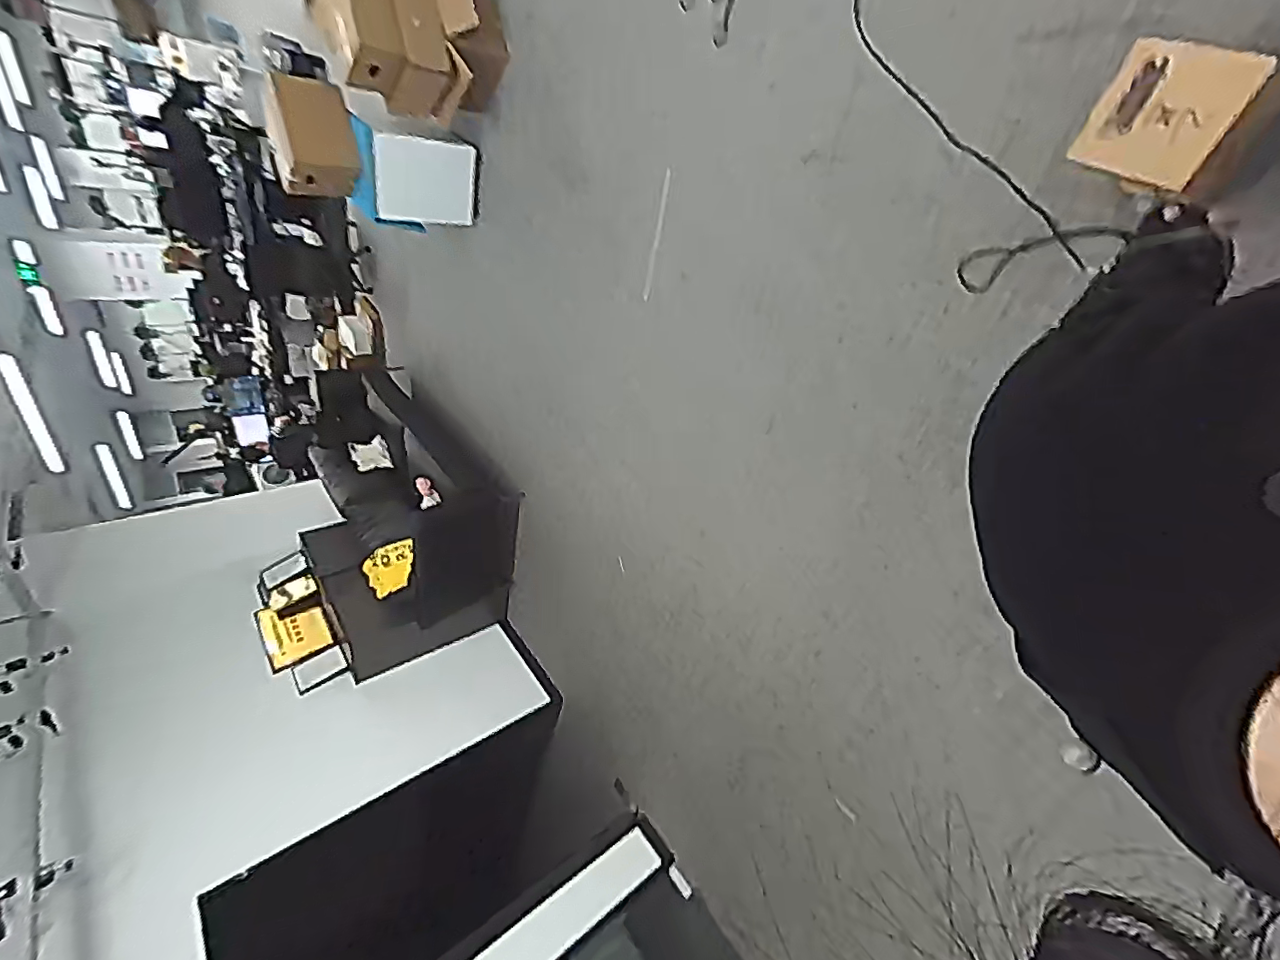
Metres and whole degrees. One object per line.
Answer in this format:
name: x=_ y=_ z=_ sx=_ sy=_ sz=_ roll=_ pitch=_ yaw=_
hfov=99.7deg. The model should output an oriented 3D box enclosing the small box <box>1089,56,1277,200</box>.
small box: x=0.965 y=-0.616 z=0.962 sx=0.168 sy=0.176 sz=0.179 roll=44 pitch=135 yaw=32
